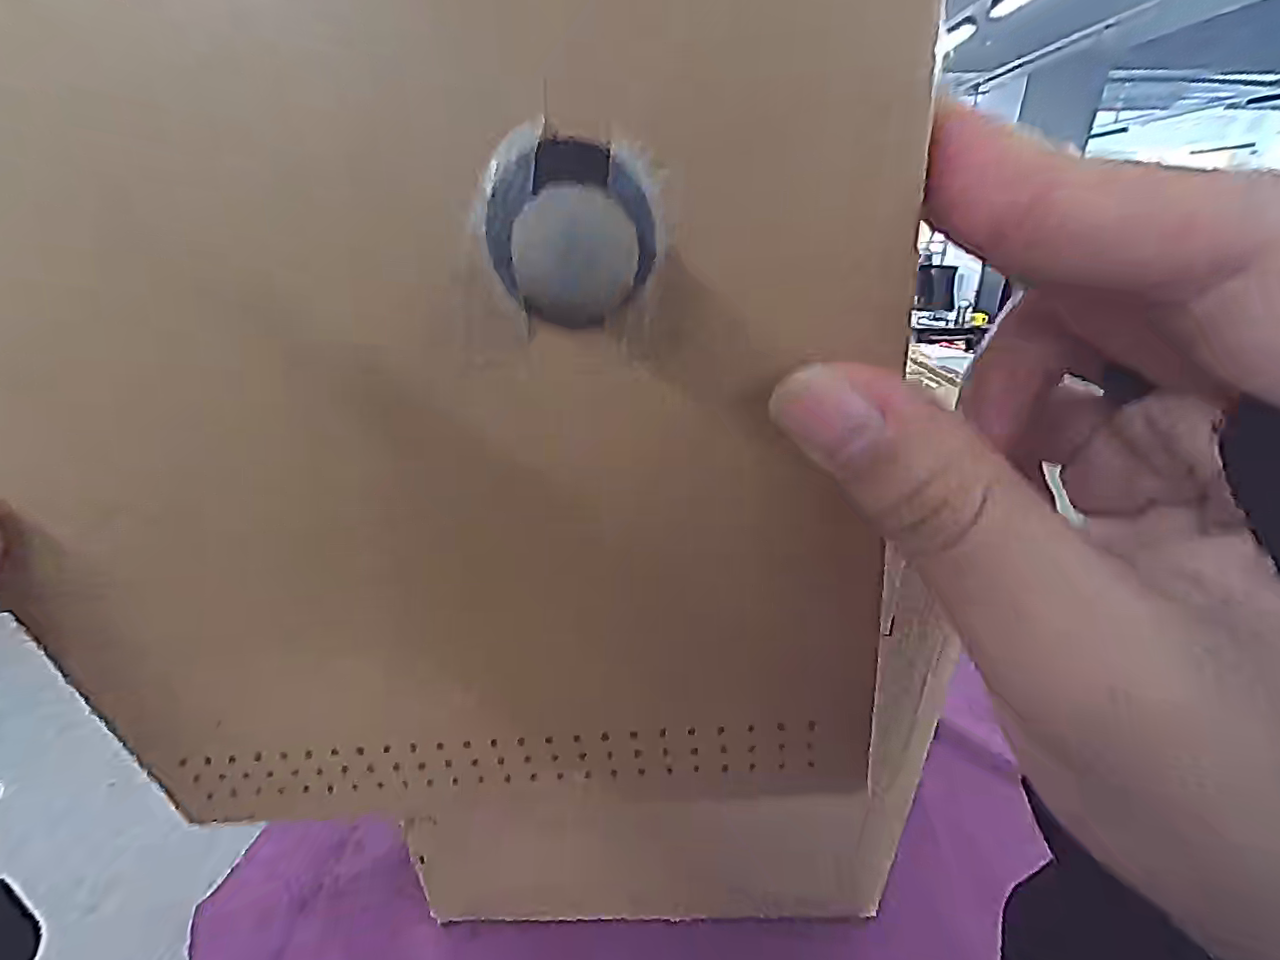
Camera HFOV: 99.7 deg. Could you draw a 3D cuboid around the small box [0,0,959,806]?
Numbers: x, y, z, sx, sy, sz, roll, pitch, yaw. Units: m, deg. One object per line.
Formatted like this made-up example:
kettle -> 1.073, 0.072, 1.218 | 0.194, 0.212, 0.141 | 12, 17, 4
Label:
small box -> -0.036, -0.028, 0.170 | 0.179, 0.176, 0.168 | -7, 26, 5
